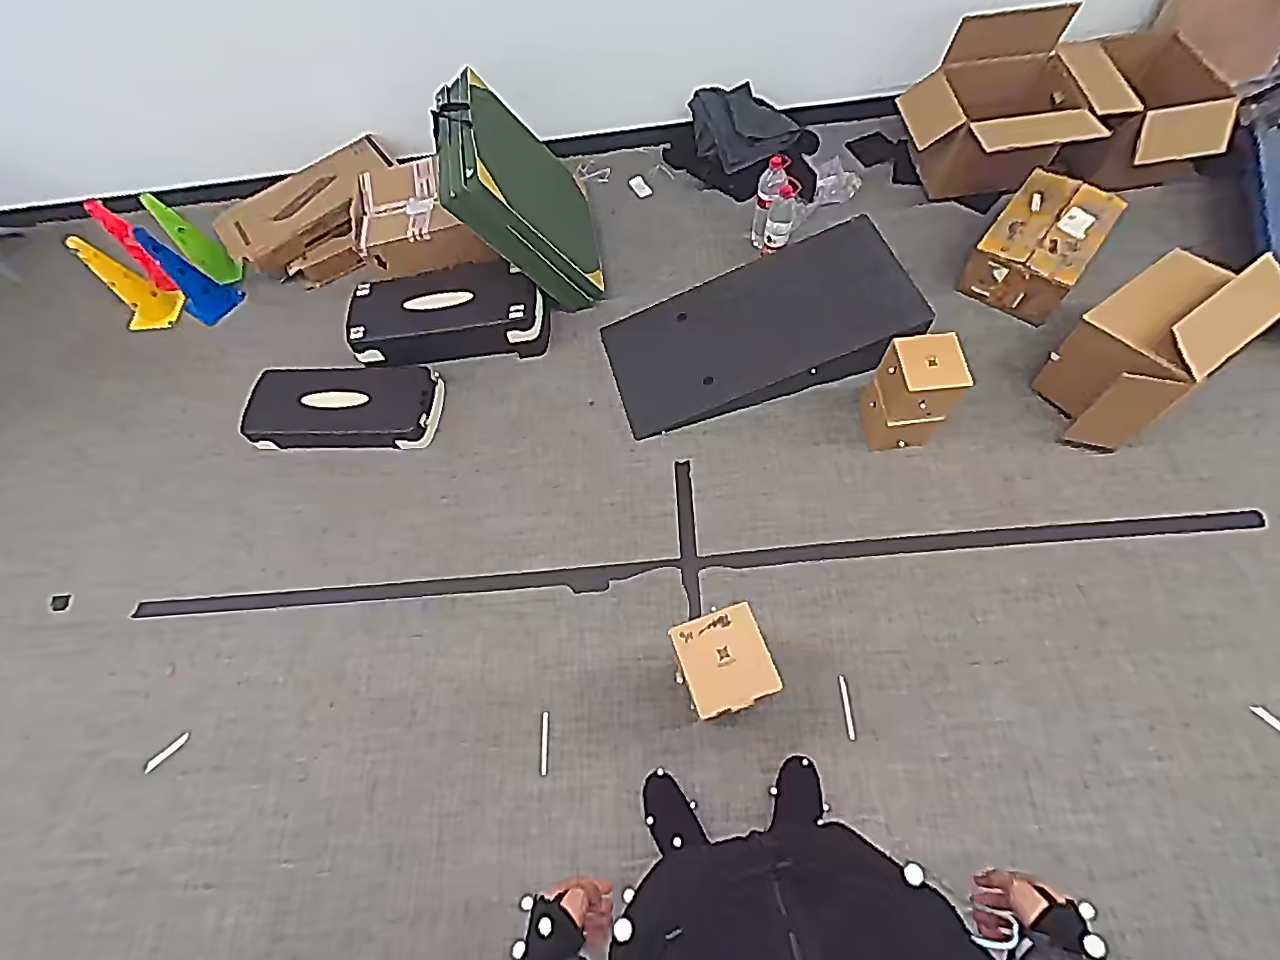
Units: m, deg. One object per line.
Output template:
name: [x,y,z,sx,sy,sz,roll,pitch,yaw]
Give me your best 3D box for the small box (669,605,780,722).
small box: [0.165,0.375,1.100,0.168,0.176,0.179,-19,66,-3]
